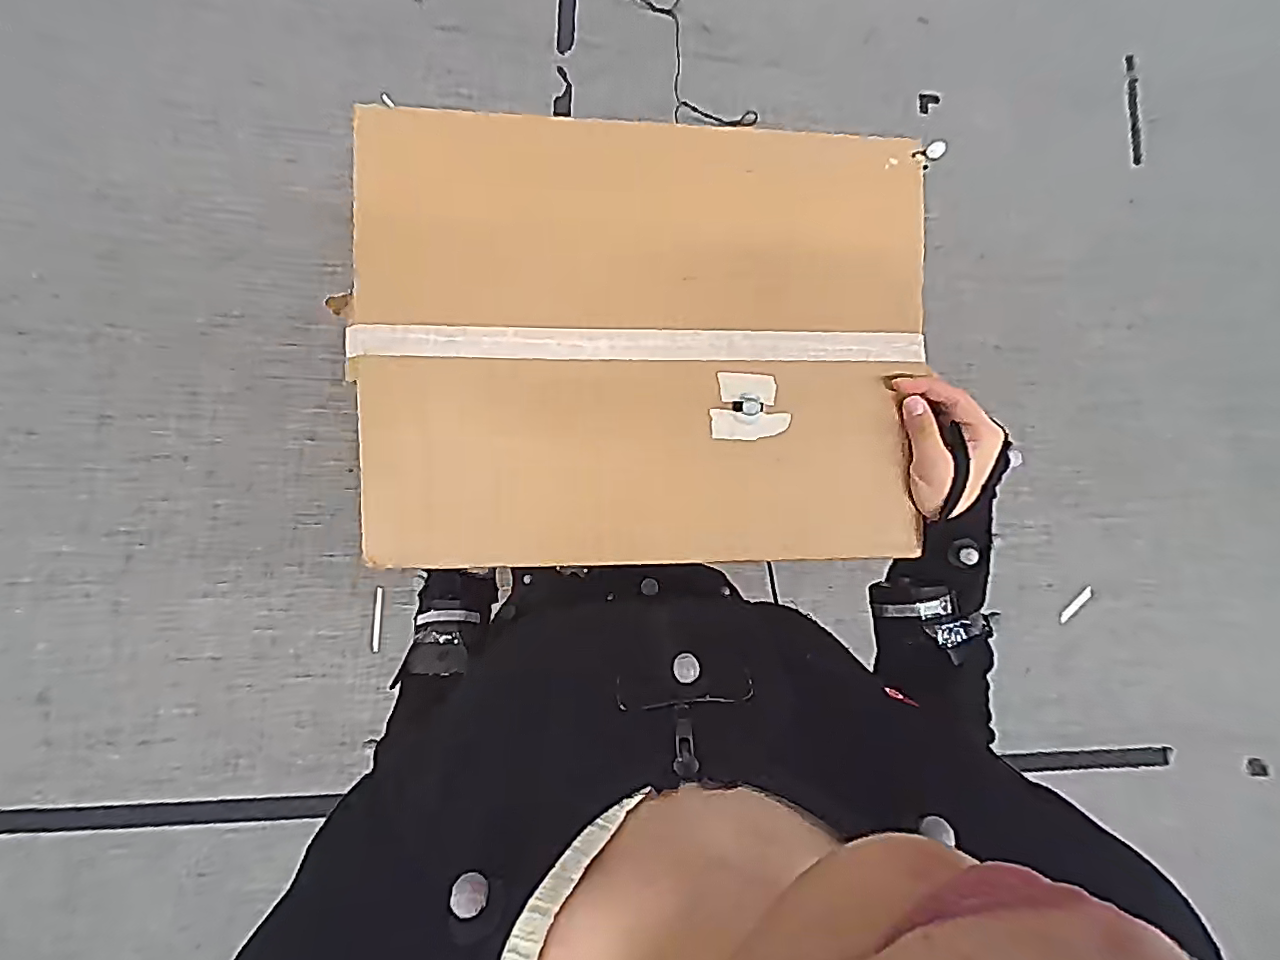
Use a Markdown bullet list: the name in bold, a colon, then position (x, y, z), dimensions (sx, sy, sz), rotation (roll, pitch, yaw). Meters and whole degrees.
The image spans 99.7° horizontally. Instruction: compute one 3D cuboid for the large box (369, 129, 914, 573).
- **large box**: position (-0.005, -0.096, 0.543), dimensions (0.408, 0.320, 0.320), rotation (-1, 92, -7)
